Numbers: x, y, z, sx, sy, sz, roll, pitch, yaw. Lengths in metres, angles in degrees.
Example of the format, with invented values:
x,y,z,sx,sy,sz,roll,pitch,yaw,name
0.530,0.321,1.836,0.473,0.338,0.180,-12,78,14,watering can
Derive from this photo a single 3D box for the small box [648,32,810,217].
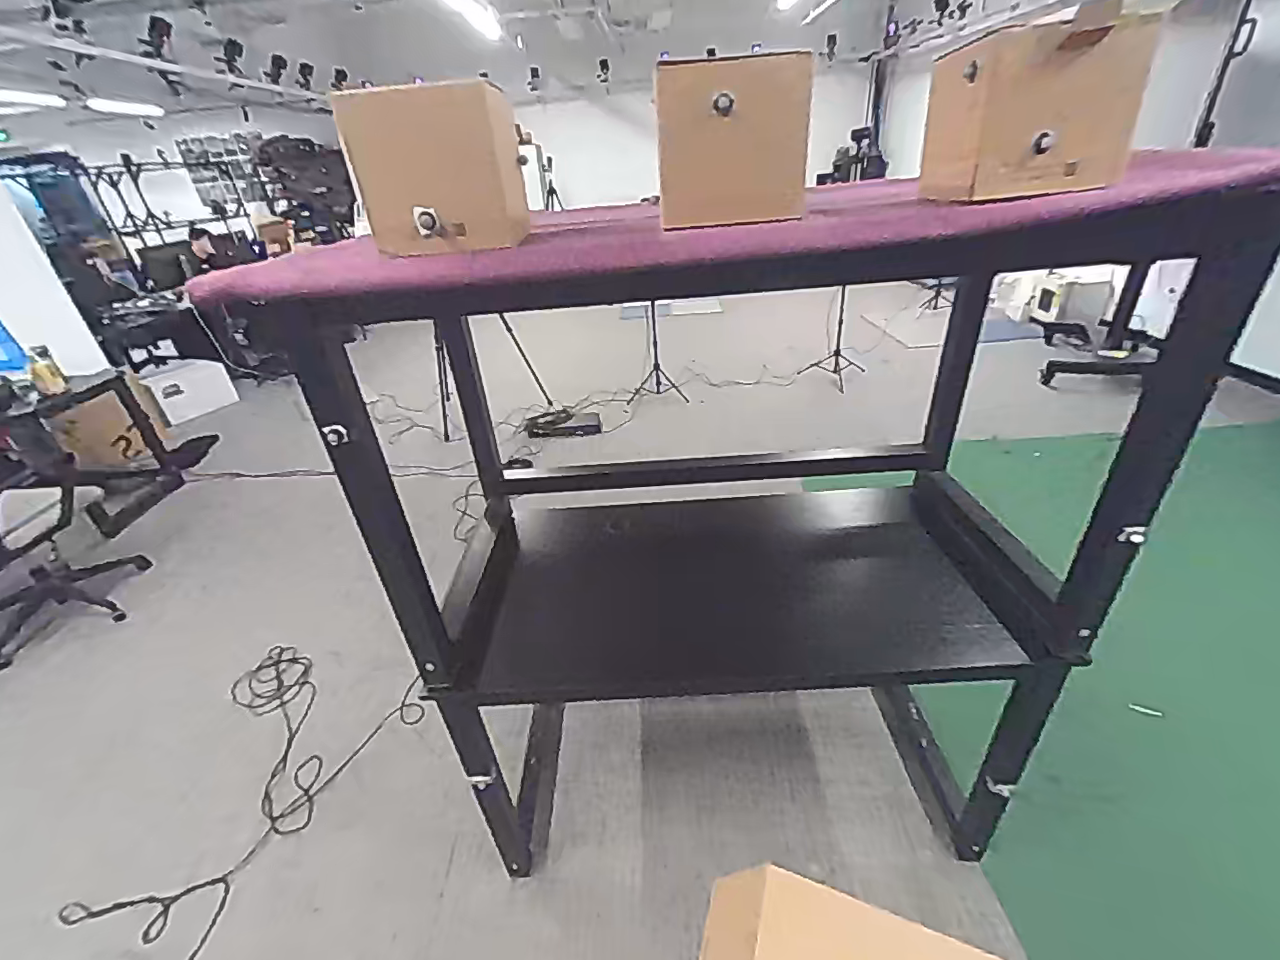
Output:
x,y,z,sx,sy,sz,roll,pitch,yaw,name
0.104,-0.434,0.685,0.179,0.176,0.168,-3,30,3,small box

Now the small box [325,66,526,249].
x,y,z,sx,sy,sz,roll,pitch,yaw,name
-0.244,-0.390,0.669,0.168,0.176,0.179,-7,32,0,small box

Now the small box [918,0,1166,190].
x,y,z,sx,sy,sz,roll,pitch,yaw,name
0.463,-0.456,0.661,0.168,0.176,0.179,-4,29,6,small box
